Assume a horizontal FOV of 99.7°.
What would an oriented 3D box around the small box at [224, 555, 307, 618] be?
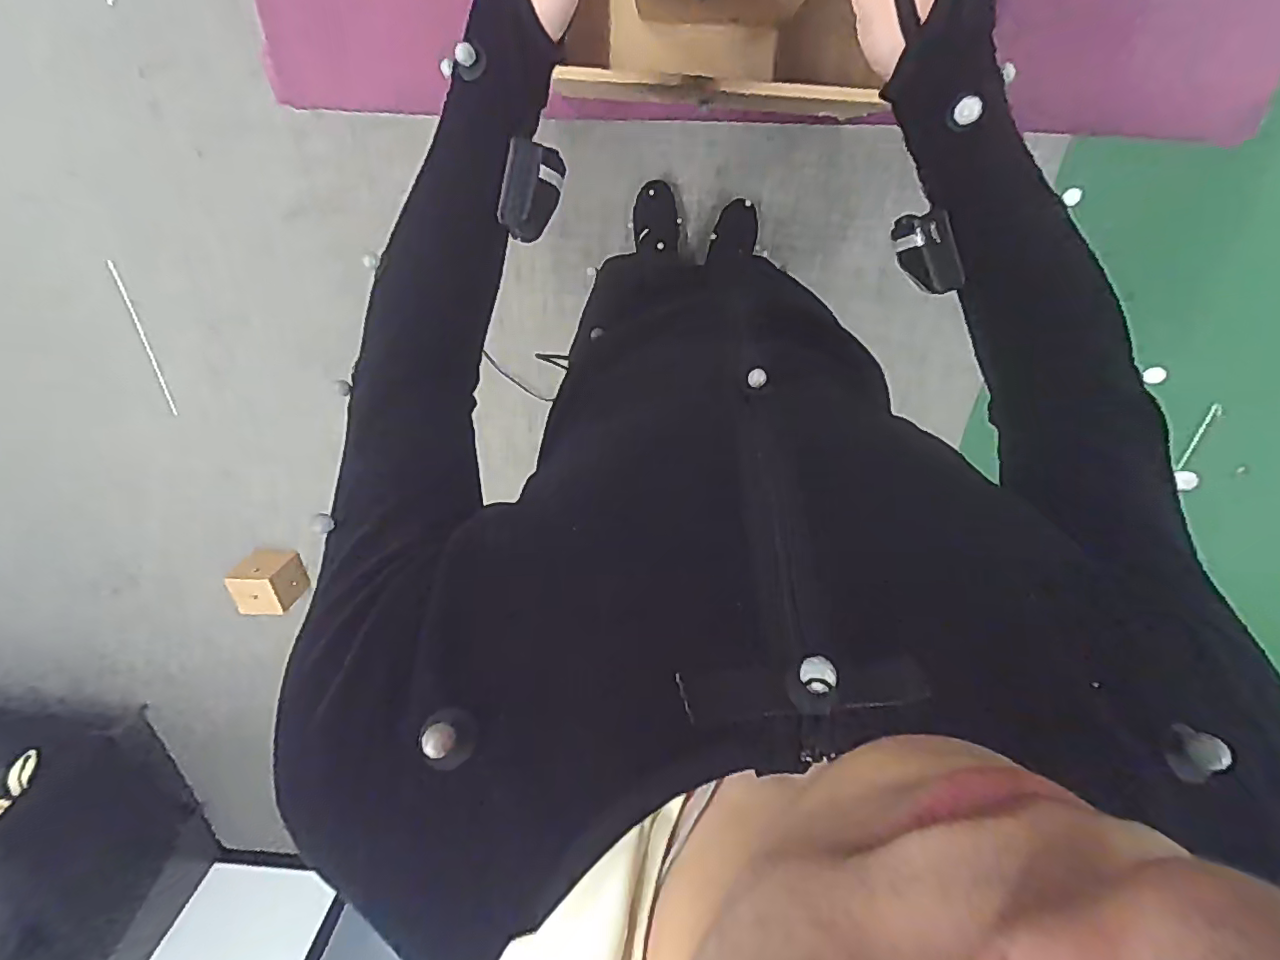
[{"bbox_3d":[-1.372,0.391,2.003,0.179,0.176,0.168,0,118,4],"label":"small box"}]
